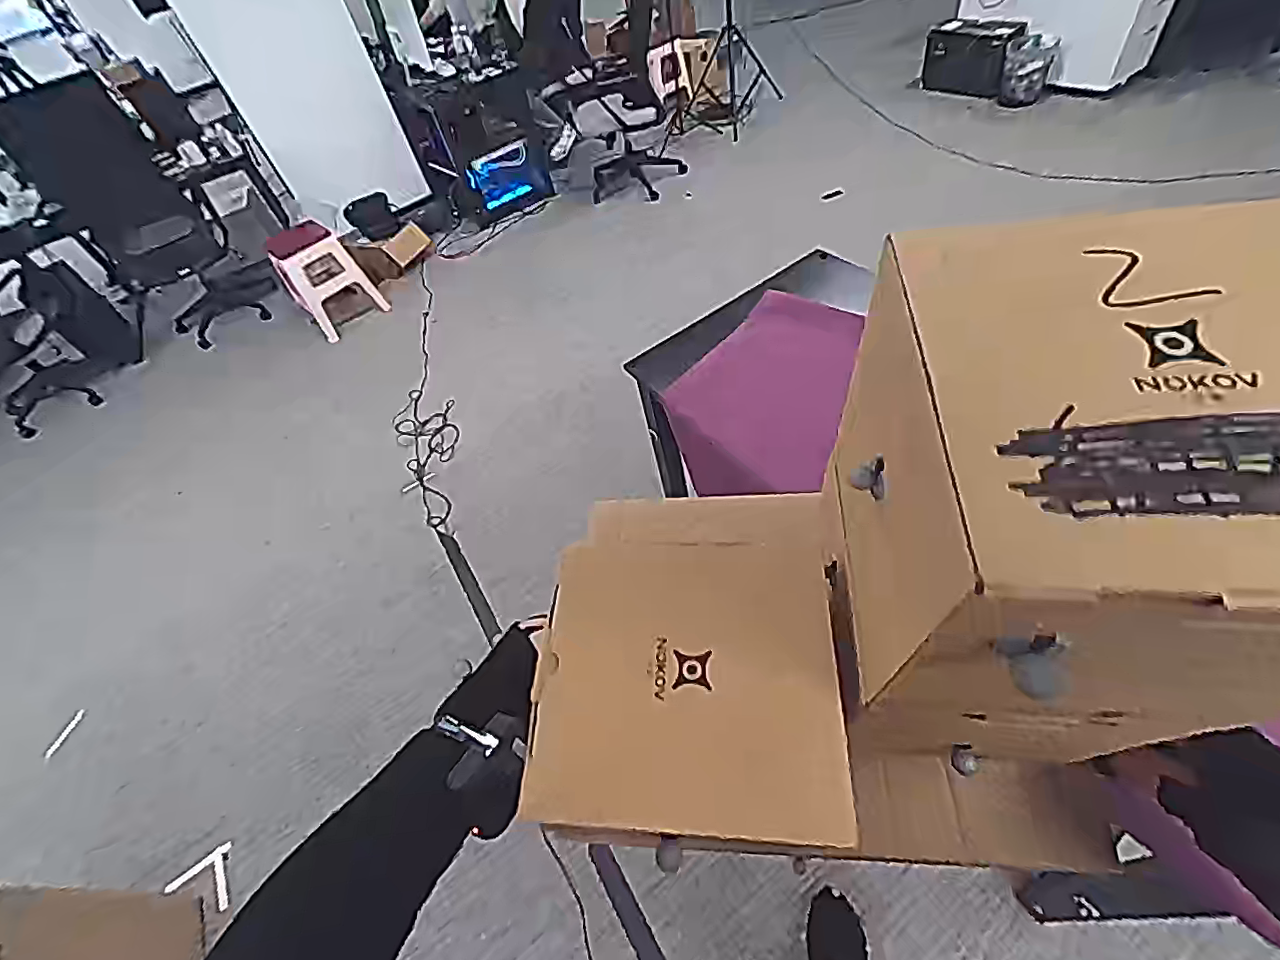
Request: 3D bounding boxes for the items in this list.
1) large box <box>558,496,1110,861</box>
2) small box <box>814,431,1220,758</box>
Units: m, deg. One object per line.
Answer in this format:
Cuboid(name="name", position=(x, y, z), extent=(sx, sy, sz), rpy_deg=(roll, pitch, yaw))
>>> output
Cuboid(name="large box", position=(0.159, 0.229, 0.602), extent=(0.408, 0.320, 0.320), rpy_deg=(-3, 54, 8))
Cuboid(name="small box", position=(0.223, 0.084, 0.388), extent=(0.168, 0.176, 0.179), rpy_deg=(0, 55, 11))
